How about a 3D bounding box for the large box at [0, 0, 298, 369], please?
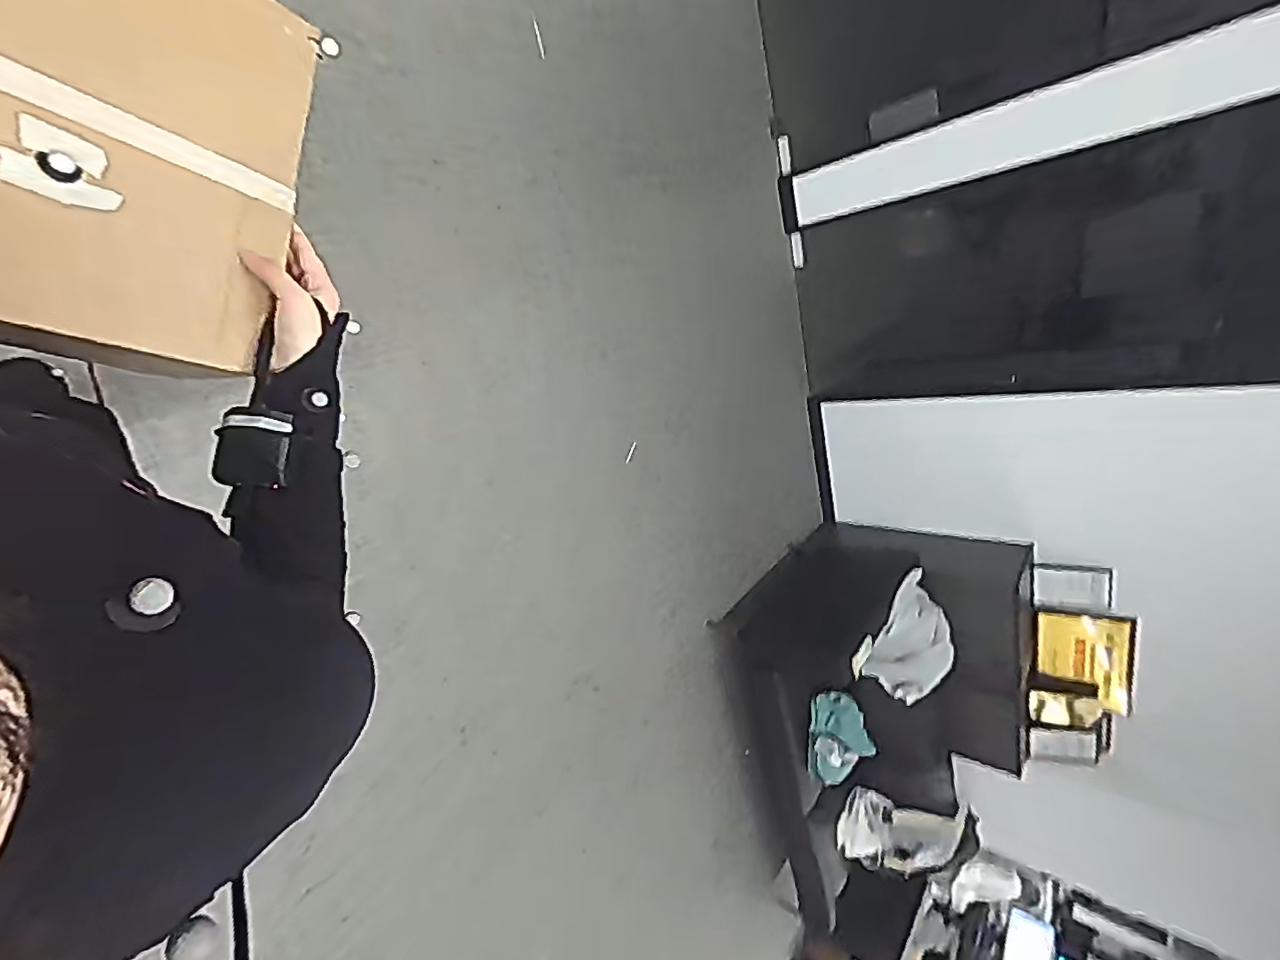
[{"bbox_3d":[-0.560,-0.284,0.416,0.408,0.320,0.320,8,91,-52],"label":"large box"}]
